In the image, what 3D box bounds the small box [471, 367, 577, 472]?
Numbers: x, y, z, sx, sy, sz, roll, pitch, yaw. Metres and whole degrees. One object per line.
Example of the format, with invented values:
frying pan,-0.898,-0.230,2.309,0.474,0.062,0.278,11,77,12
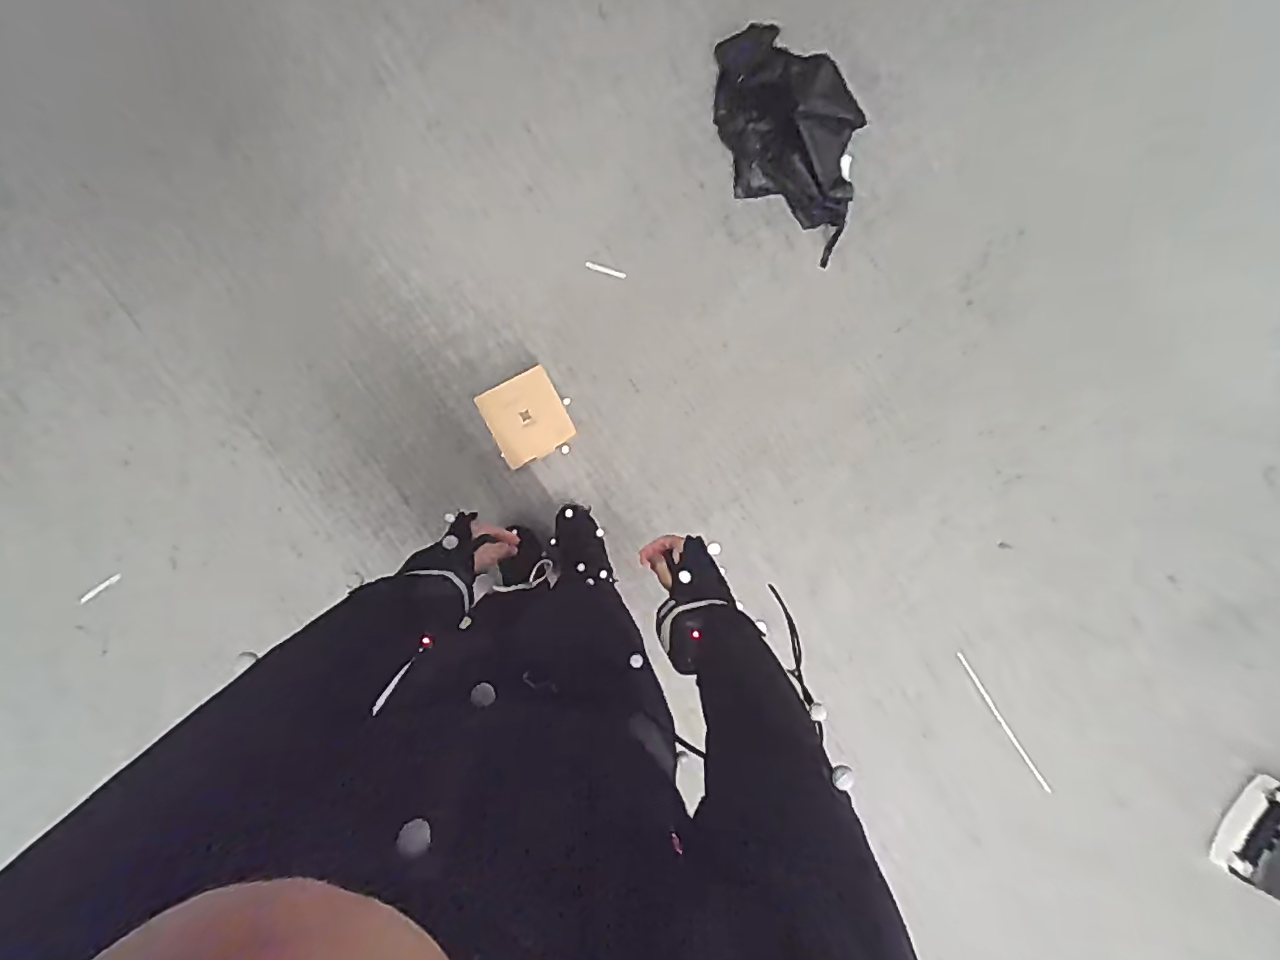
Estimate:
small box,-0.252,-0.134,1.226,0.168,0.176,0.179,-28,95,-3
